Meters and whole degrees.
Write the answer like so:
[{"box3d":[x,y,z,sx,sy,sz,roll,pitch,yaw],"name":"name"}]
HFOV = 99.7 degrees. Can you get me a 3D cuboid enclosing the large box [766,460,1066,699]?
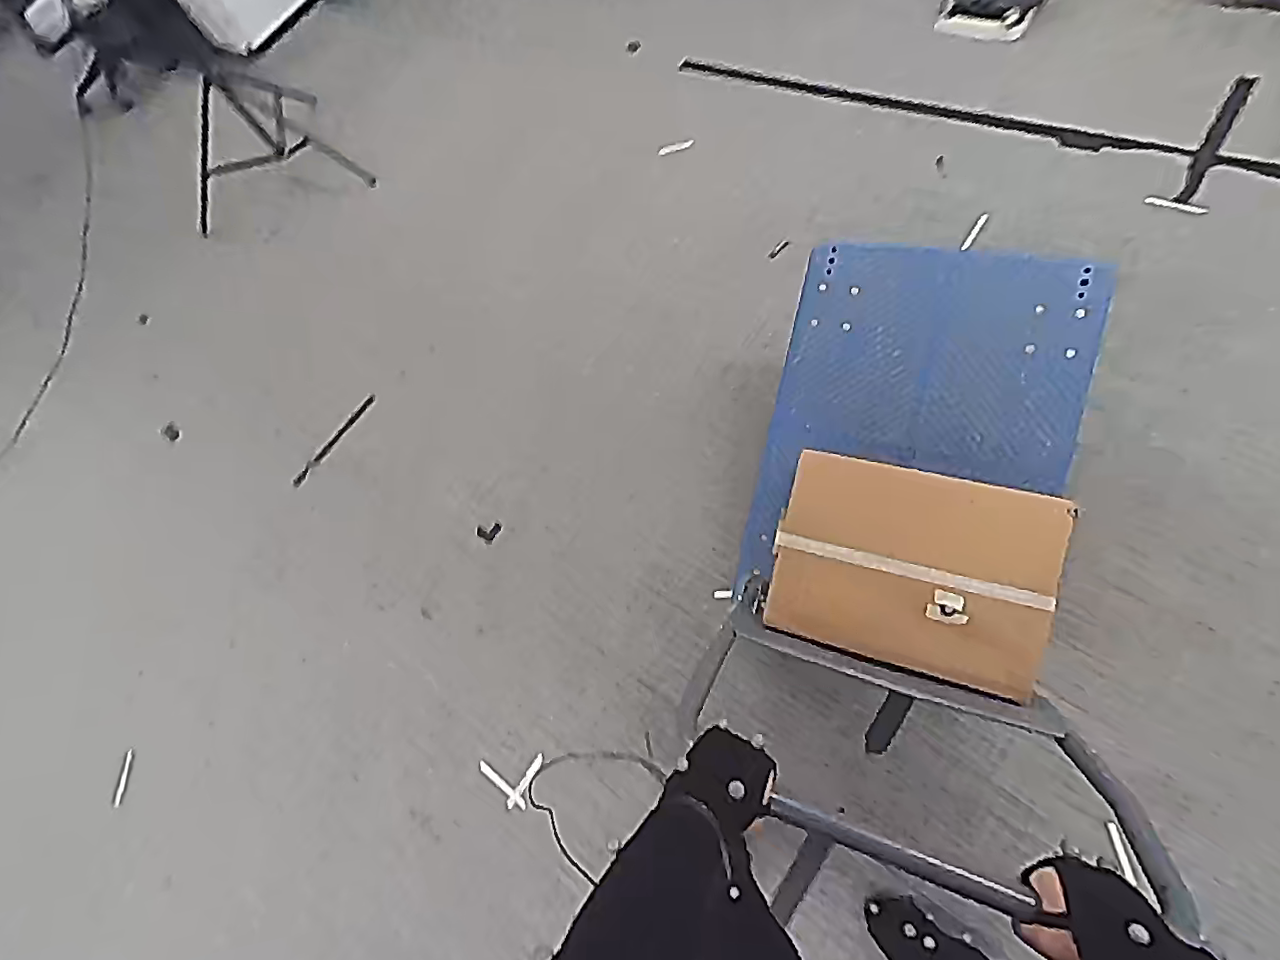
[{"box3d":[0.476,0.158,1.023,0.408,0.320,0.320,13,92,18],"name":"large box"}]
